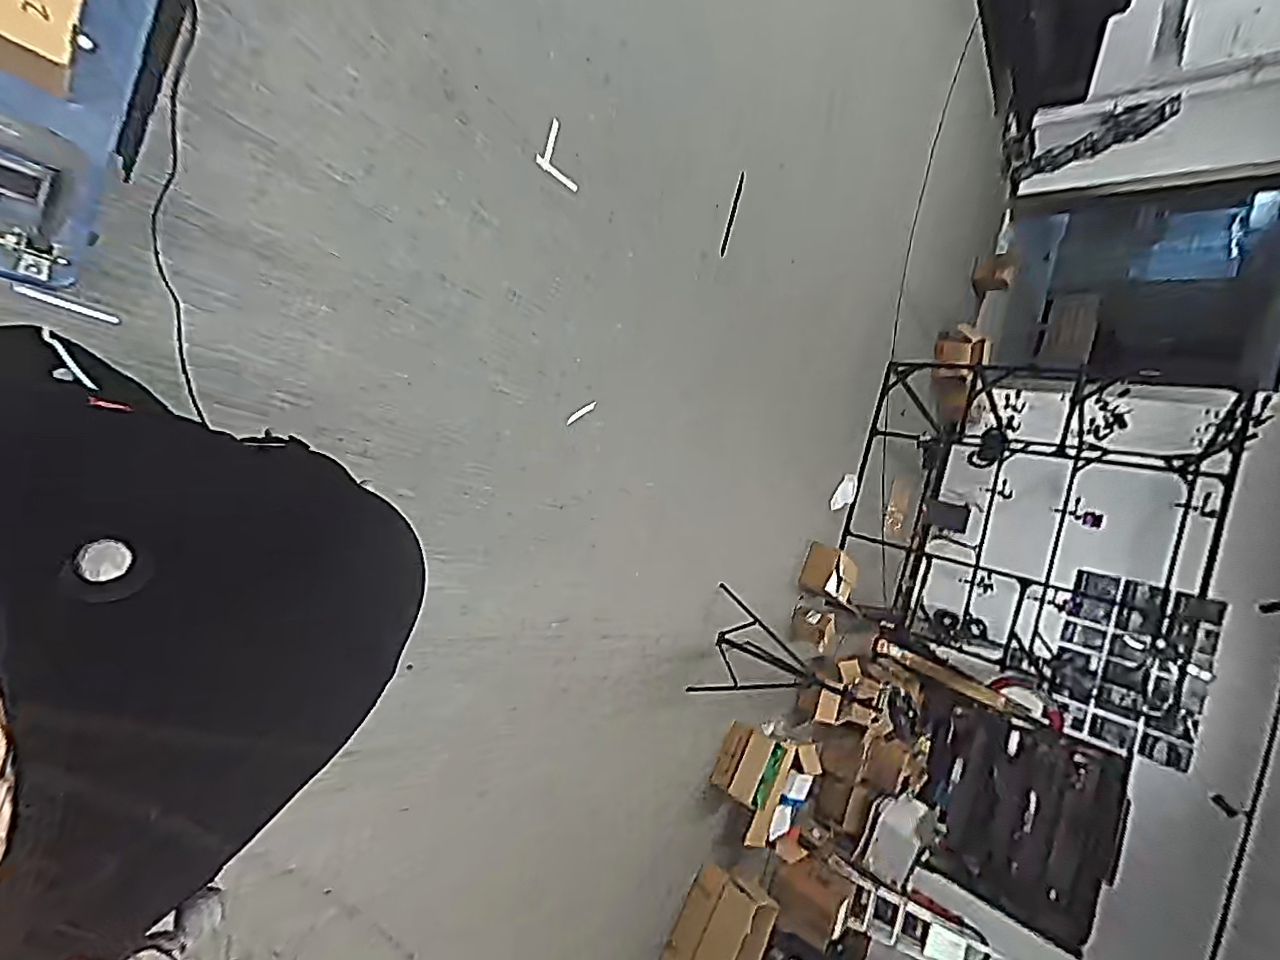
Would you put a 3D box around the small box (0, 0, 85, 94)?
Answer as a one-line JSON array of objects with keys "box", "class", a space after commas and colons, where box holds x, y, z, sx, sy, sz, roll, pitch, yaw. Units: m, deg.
[{"box": [-0.885, -0.669, 0.729, 0.179, 0.176, 0.168, 11, 93, -50], "class": "small box"}]
